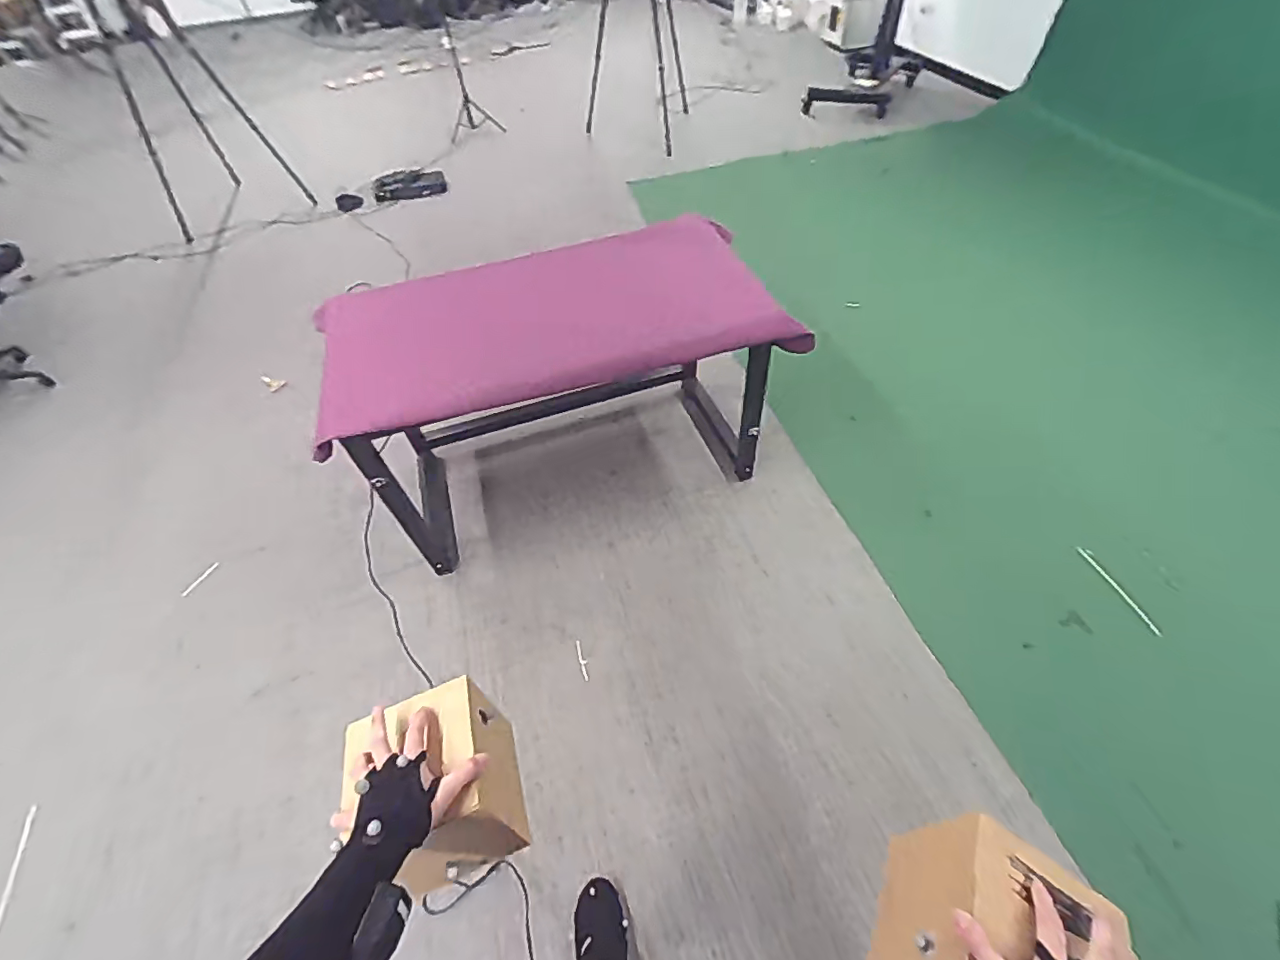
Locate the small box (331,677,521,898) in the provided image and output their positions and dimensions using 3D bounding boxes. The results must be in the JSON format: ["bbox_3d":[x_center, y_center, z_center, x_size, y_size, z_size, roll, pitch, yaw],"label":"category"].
[{"bbox_3d":[-0.272,0.403,0.713,0.168,0.176,0.179,-23,41,-6],"label":"small box"}]
